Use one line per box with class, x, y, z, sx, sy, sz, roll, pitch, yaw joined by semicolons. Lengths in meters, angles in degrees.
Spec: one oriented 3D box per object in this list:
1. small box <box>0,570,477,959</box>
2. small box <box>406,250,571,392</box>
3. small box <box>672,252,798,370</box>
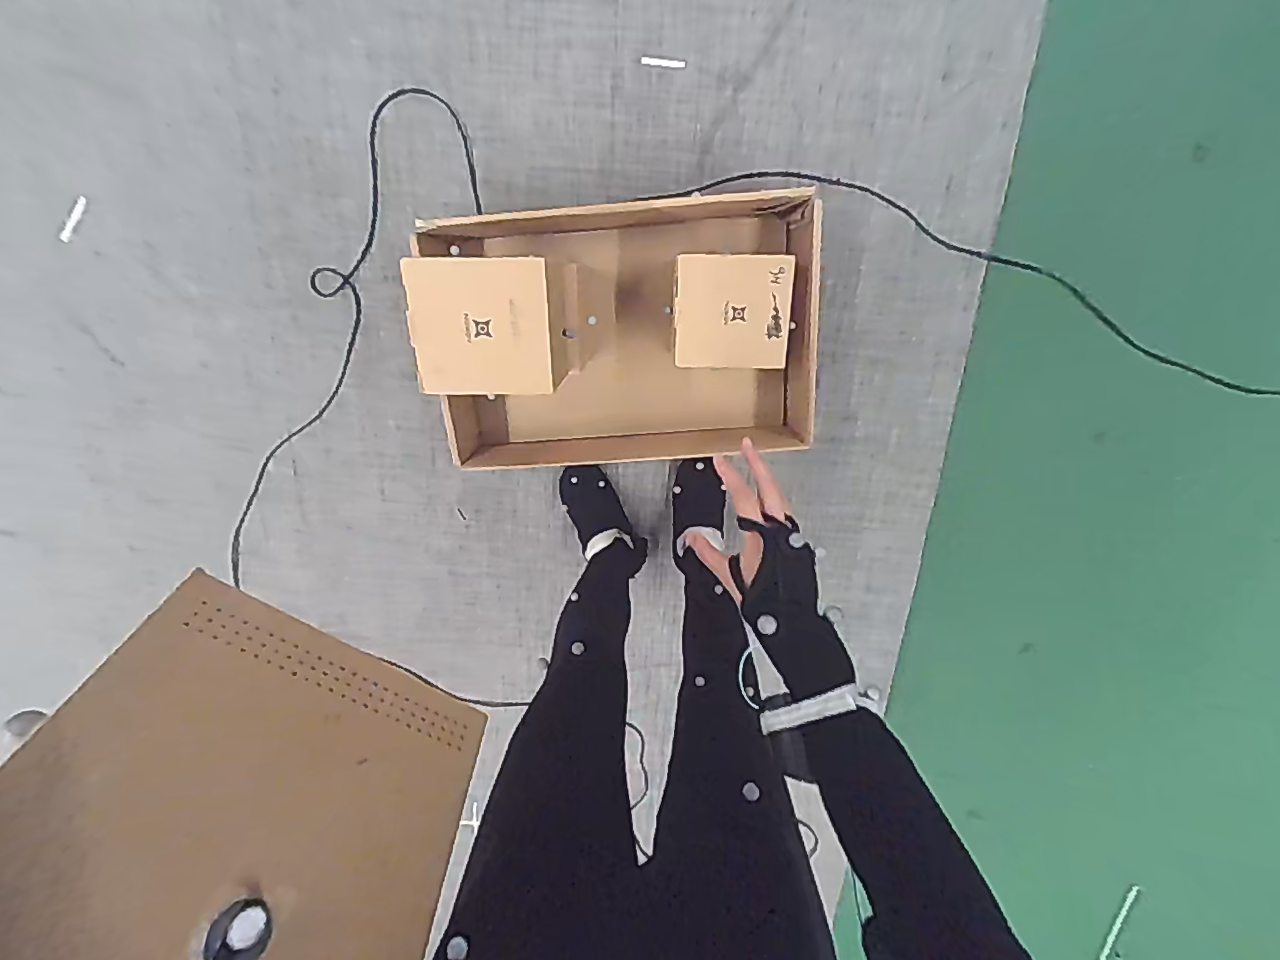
small box;-0.207;0.176;0.257;0.168;0.176;0.179;-39;114;23
small box;-0.193;-0.219;0.739;0.179;0.176;0.168;1;110;-1
small box;0.144;-0.276;0.888;0.179;0.176;0.168;2;109;1
